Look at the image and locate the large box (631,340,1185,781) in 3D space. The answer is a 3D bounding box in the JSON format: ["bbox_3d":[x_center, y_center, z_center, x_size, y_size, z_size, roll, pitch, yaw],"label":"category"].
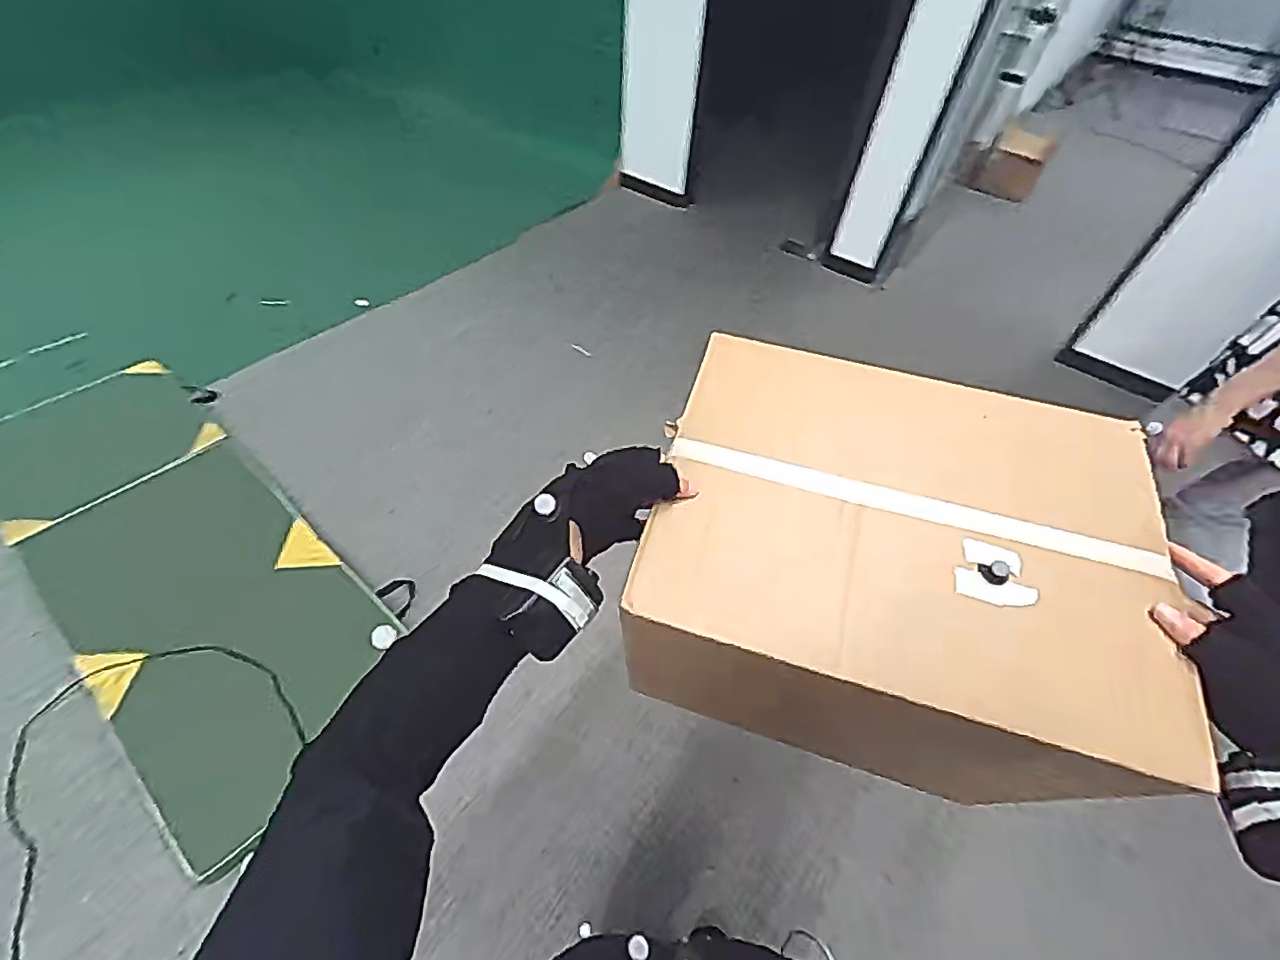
[{"bbox_3d":[0.220,0.098,0.596,0.408,0.320,0.320,15,60,8],"label":"large box"}]
